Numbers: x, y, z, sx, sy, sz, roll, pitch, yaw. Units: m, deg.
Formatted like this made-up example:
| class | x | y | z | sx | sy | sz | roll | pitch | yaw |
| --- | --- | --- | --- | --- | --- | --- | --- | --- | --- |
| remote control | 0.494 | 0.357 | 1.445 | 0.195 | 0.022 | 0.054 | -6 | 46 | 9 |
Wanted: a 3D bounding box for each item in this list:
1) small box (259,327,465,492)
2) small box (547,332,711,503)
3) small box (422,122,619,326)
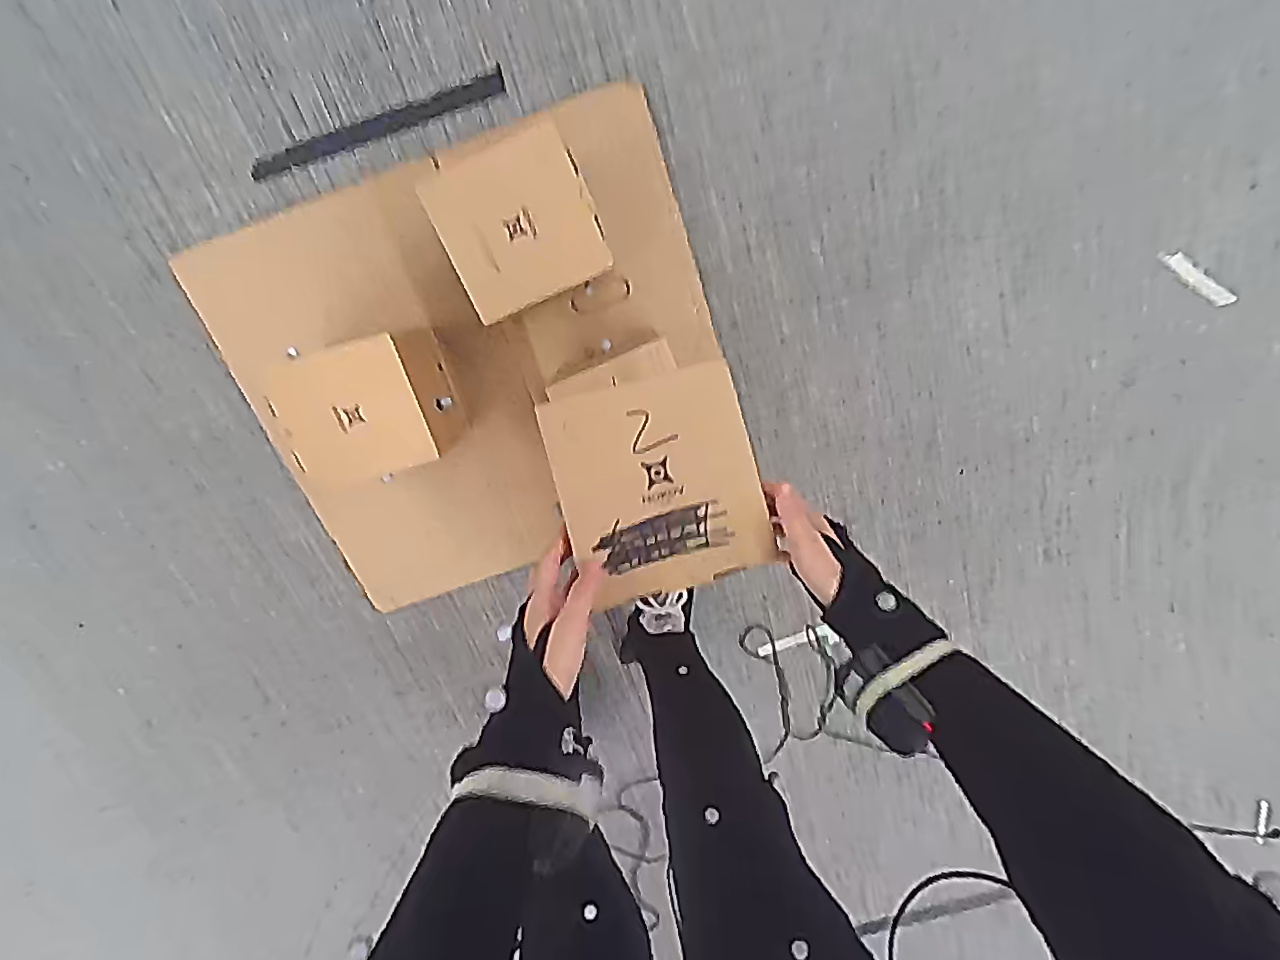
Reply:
| class | x | y | z | sx | sy | sz | roll | pitch | yaw |
| --- | --- | --- | --- | --- | --- | --- | --- | --- | --- |
| small box | -0.357 | -0.106 | 0.743 | 0.179 | 0.176 | 0.168 | -15 | 109 | 3 |
| small box | -0.014 | -0.097 | 0.769 | 0.168 | 0.176 | 0.179 | -23 | 108 | 4 |
| small box | -0.139 | -0.313 | 0.692 | 0.179 | 0.176 | 0.168 | -24 | 107 | 5 |
